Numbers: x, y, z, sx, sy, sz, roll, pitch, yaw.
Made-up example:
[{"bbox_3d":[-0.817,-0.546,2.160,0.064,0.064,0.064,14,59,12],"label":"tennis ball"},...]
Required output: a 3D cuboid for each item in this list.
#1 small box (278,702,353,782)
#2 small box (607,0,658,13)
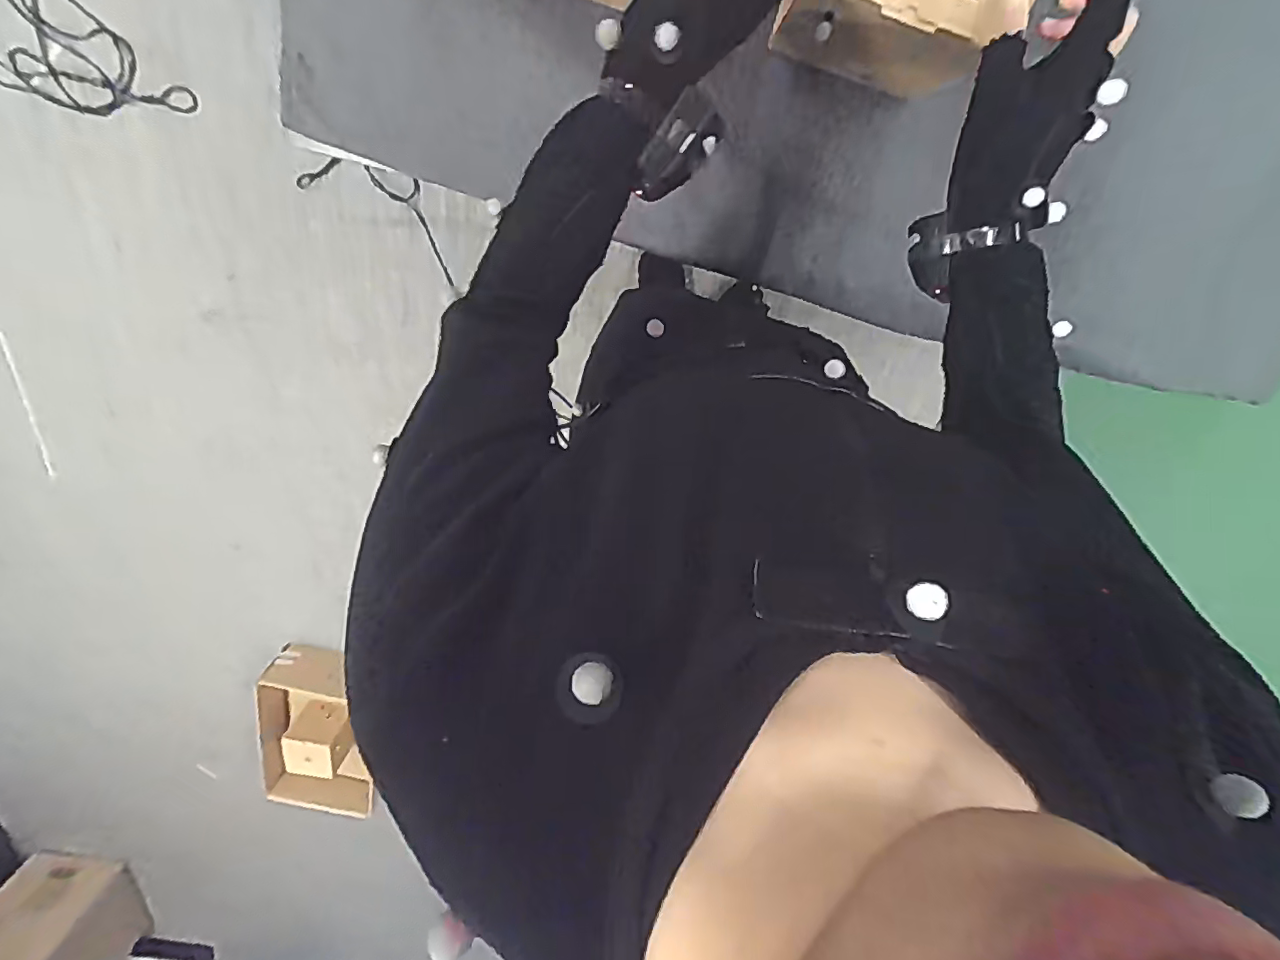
[{"bbox_3d":[-1.135,0.920,1.904,0.168,0.176,0.179,10,115,-2],"label":"small box"},{"bbox_3d":[-0.041,-0.518,0.422,0.168,0.176,0.179,17,114,-6],"label":"small box"}]
